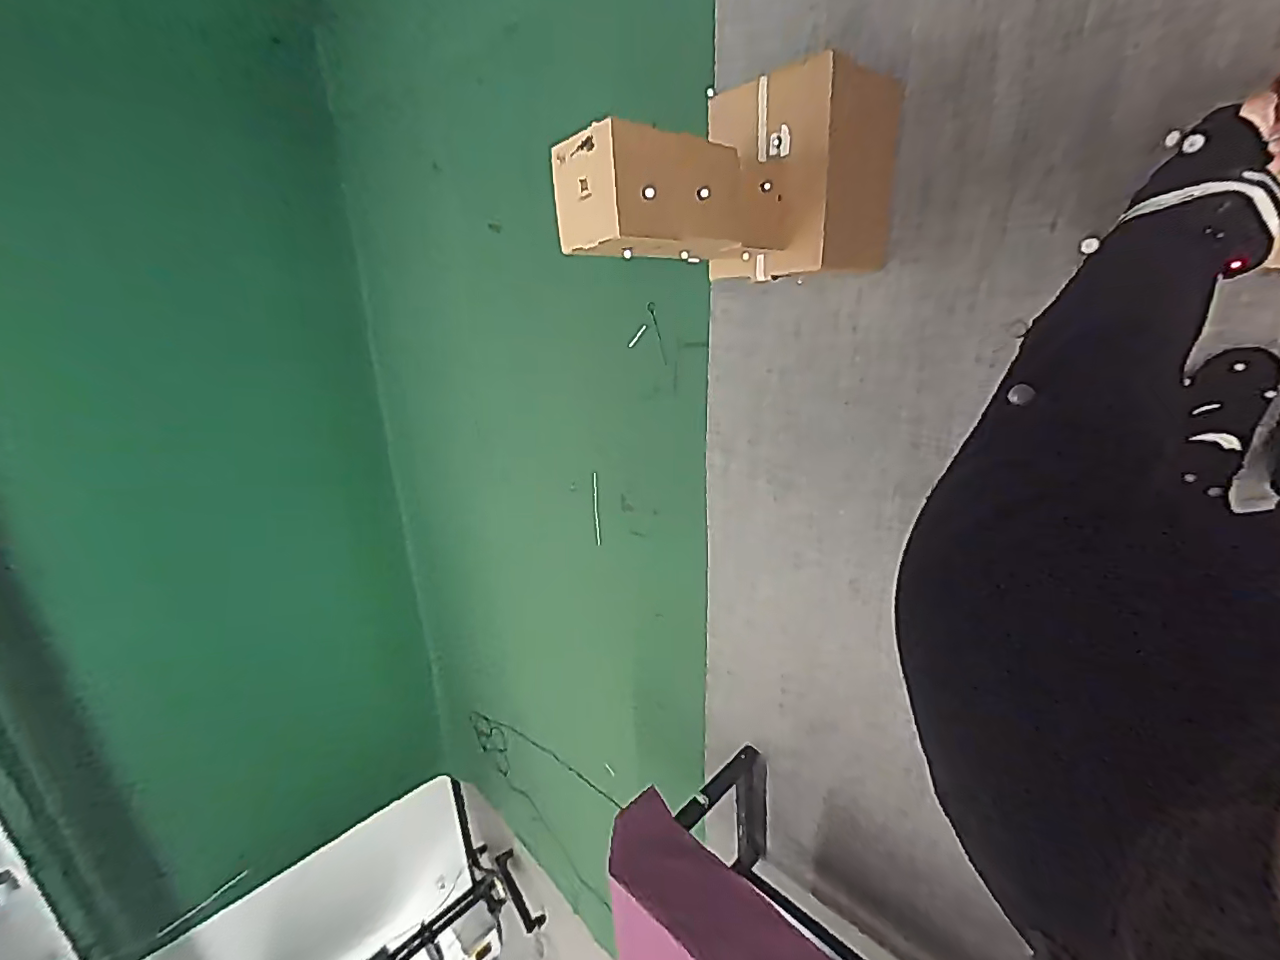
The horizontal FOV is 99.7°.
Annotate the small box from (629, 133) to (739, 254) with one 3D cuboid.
[{"bbox_3d":[0.083,-0.554,1.073,0.168,0.176,0.179,9,109,45],"label":"small box"}]

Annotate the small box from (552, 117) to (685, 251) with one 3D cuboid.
[{"bbox_3d":[-0.033,-0.512,0.964,0.168,0.176,0.179,12,113,45],"label":"small box"}]

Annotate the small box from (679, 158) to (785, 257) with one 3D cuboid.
[{"bbox_3d":[0.200,-0.587,1.183,0.179,0.176,0.168,15,114,45],"label":"small box"}]

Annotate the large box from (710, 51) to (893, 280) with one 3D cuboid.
[{"bbox_3d":[0.383,-0.709,1.310,0.320,0.320,0.408,15,114,43],"label":"large box"}]

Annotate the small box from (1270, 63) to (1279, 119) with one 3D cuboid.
[{"bbox_3d":[0.584,-0.351,0.356,0.179,0.176,0.168,29,122,39],"label":"small box"}]

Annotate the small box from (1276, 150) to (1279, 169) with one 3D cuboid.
[{"bbox_3d":[0.825,-0.428,0.567,0.168,0.176,0.179,23,118,40],"label":"small box"}]
